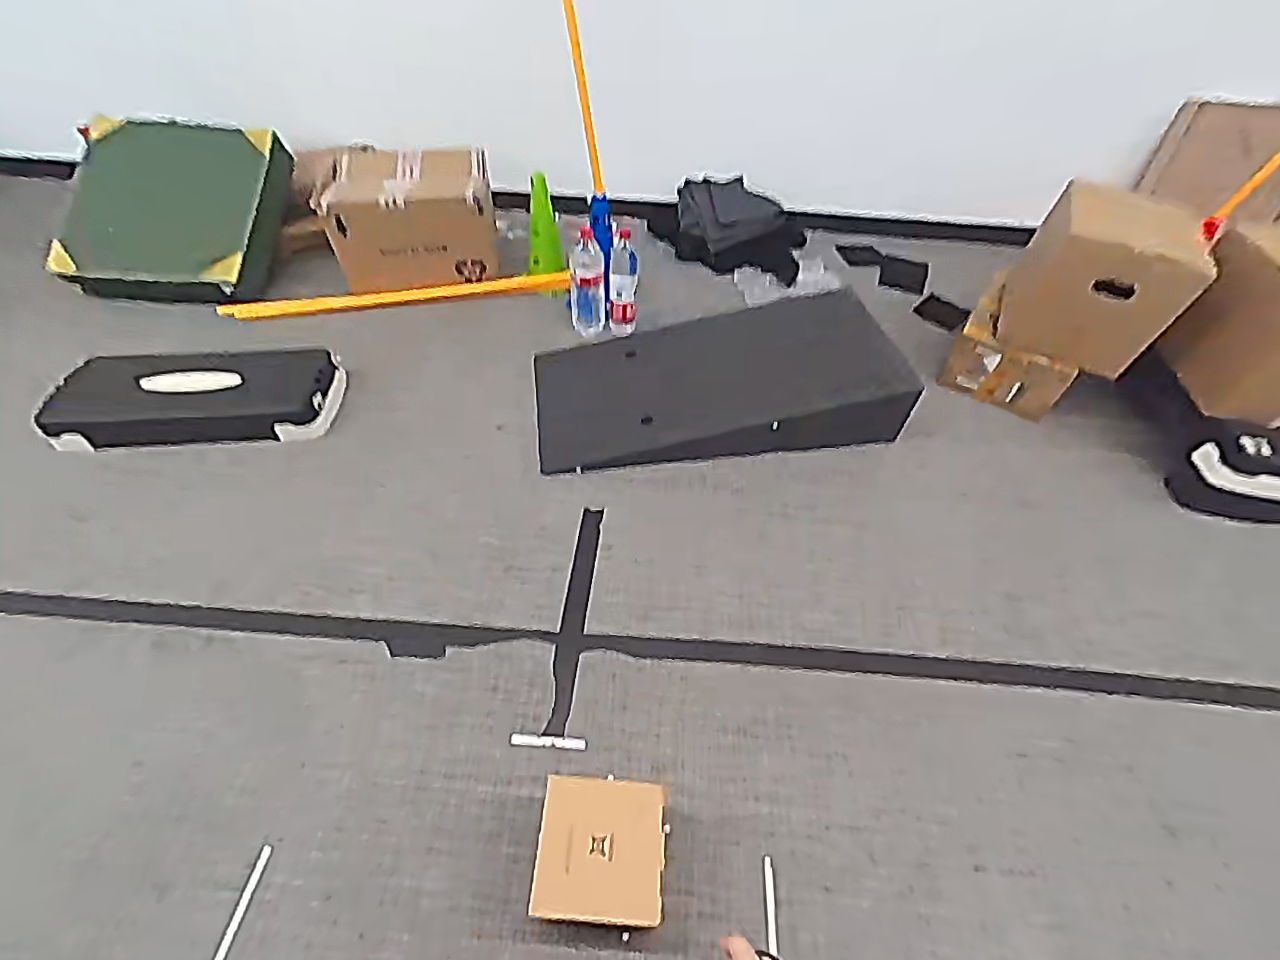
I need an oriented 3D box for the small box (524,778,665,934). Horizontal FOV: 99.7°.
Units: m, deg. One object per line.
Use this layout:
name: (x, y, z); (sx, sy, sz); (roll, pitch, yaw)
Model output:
small box: (-0.060, 0.558, 0.801); (0.179, 0.176, 0.168); (5, 49, 1)
